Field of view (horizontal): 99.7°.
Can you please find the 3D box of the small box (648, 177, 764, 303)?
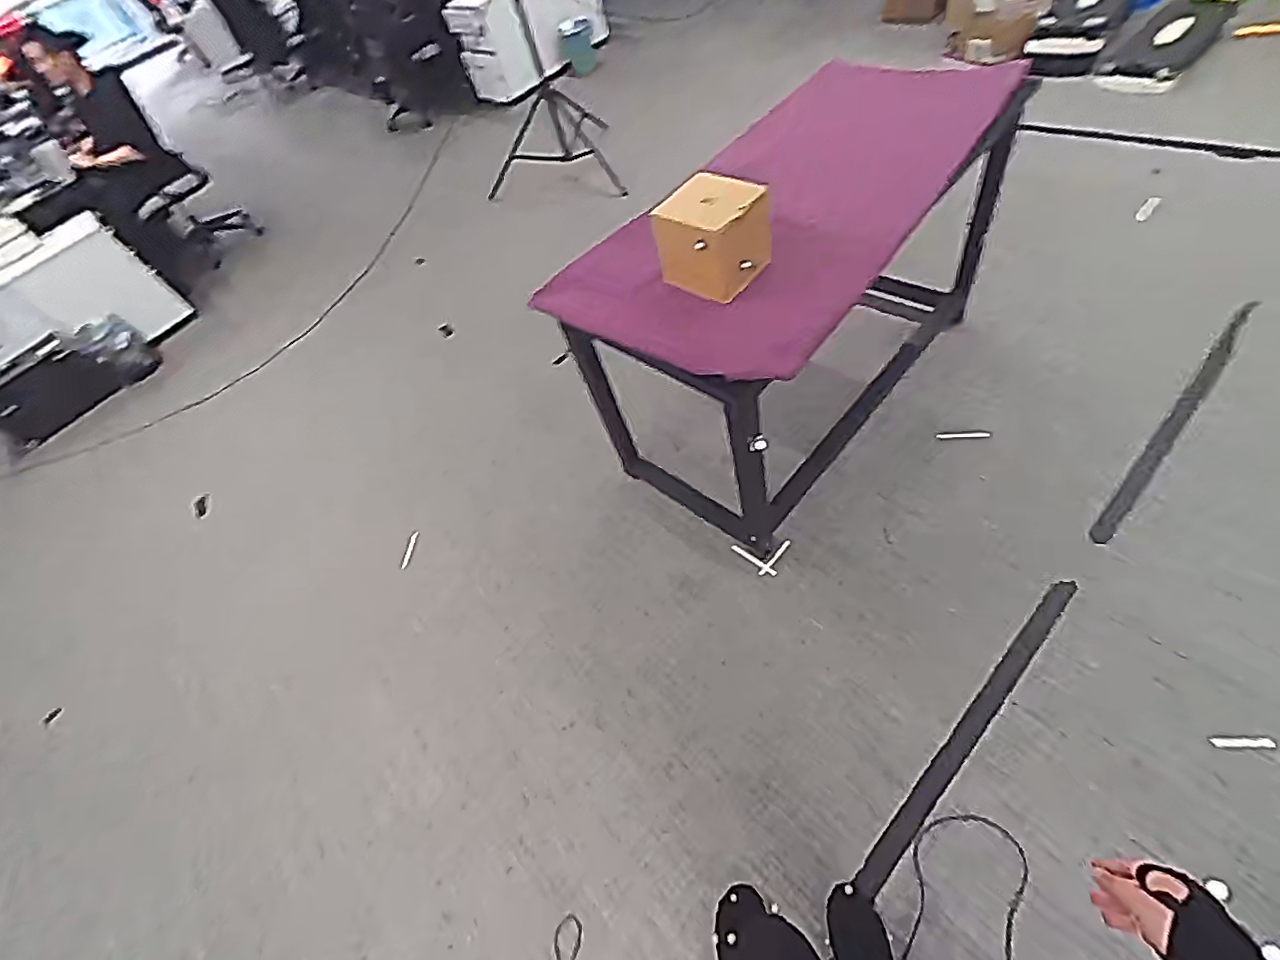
[{"bbox_3d":[0.144,-0.503,1.142,0.179,0.176,0.168,32,69,30],"label":"small box"}]
